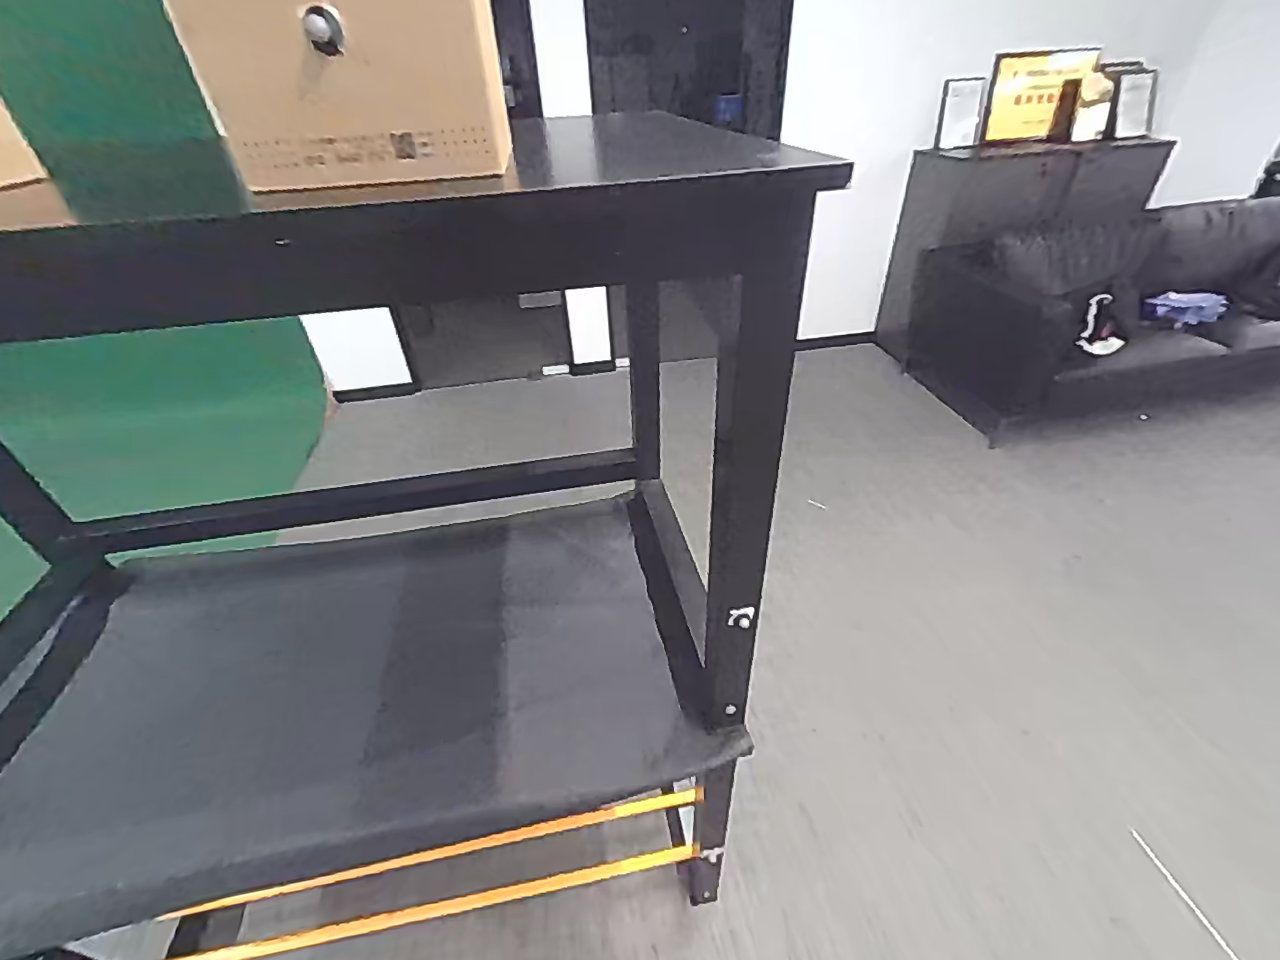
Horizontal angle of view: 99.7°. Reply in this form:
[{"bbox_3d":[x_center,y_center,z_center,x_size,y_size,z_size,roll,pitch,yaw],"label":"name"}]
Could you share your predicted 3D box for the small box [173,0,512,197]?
[{"bbox_3d":[-0.187,-0.304,0.379,0.168,0.176,0.179,-7,37,-6],"label":"small box"}]
